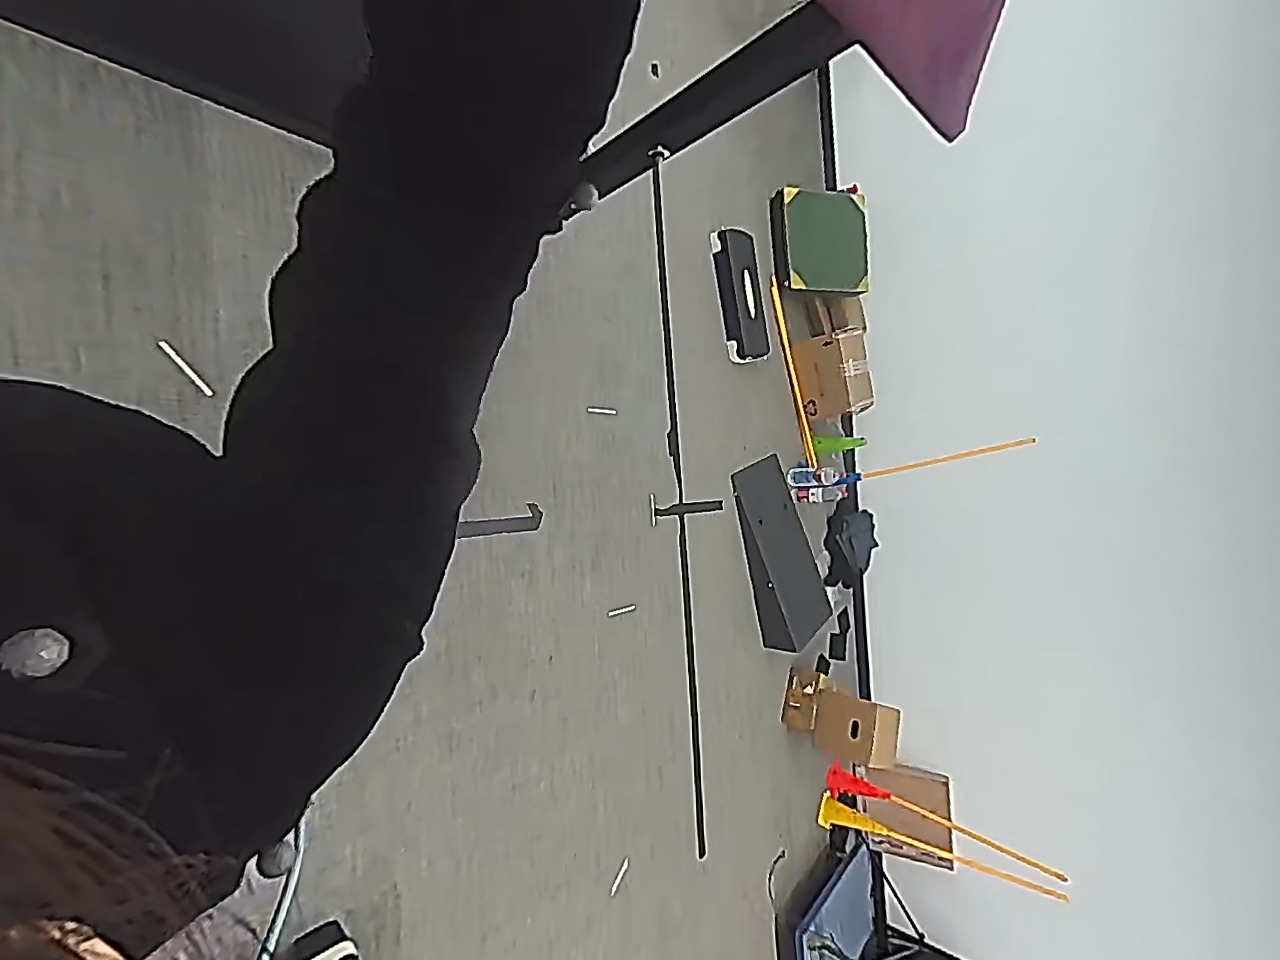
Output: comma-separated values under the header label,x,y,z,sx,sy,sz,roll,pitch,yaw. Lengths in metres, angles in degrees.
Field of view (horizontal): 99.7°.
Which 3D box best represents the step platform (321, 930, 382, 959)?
label,x,y,z,sx,sy,sz,roll,pitch,yaw
step platform,-0.870,1.246,1.076,0.684,0.204,0.286,6,82,-48
